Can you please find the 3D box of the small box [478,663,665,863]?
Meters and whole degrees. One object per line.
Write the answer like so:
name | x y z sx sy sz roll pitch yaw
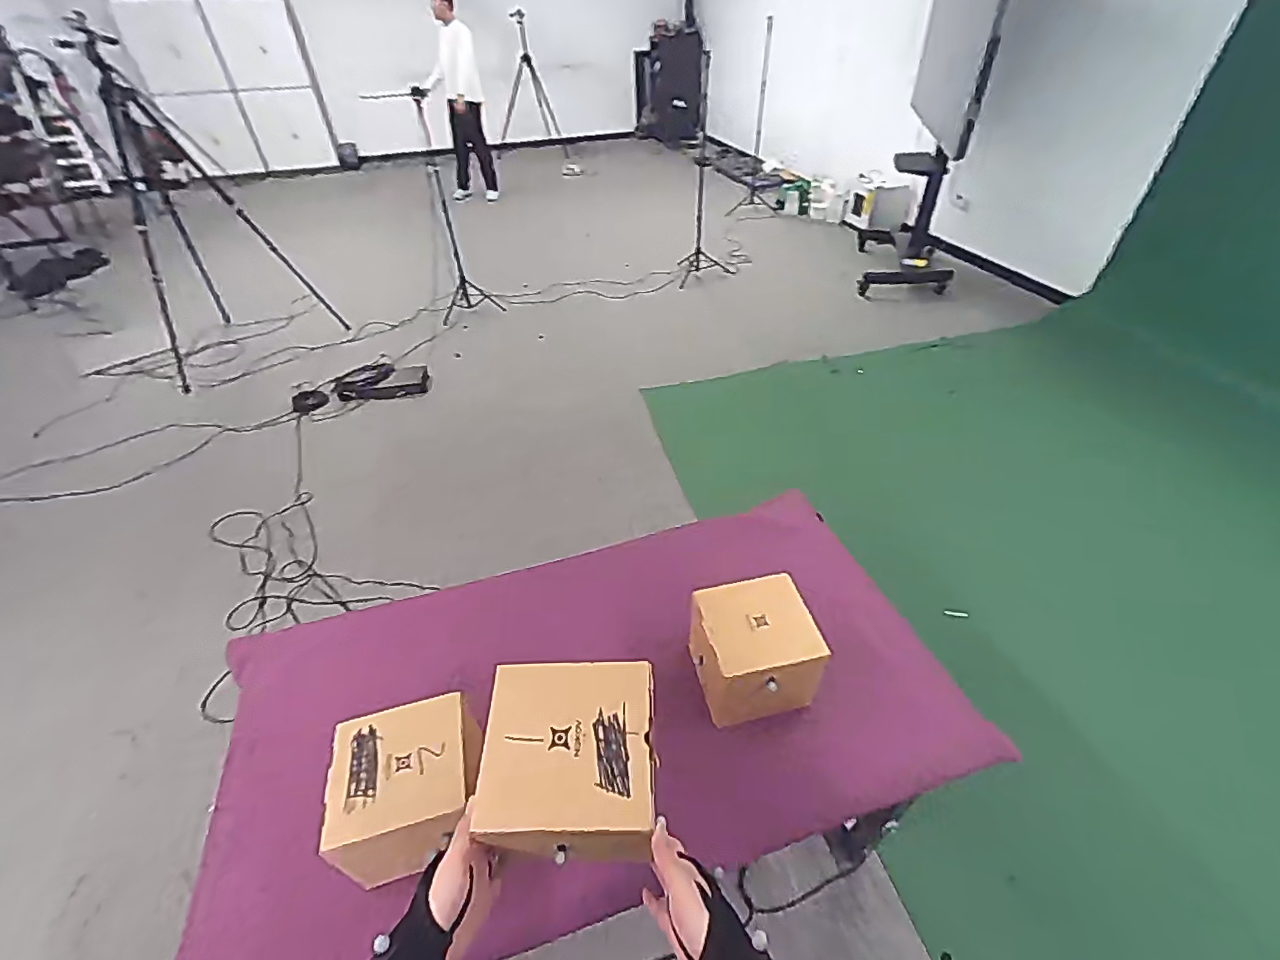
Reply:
small box | -0.064 0.322 0.614 0.179 0.176 0.168 -1 47 1

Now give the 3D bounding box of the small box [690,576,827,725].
small box | 0.192 0.294 0.932 0.179 0.176 0.168 -11 43 -8
